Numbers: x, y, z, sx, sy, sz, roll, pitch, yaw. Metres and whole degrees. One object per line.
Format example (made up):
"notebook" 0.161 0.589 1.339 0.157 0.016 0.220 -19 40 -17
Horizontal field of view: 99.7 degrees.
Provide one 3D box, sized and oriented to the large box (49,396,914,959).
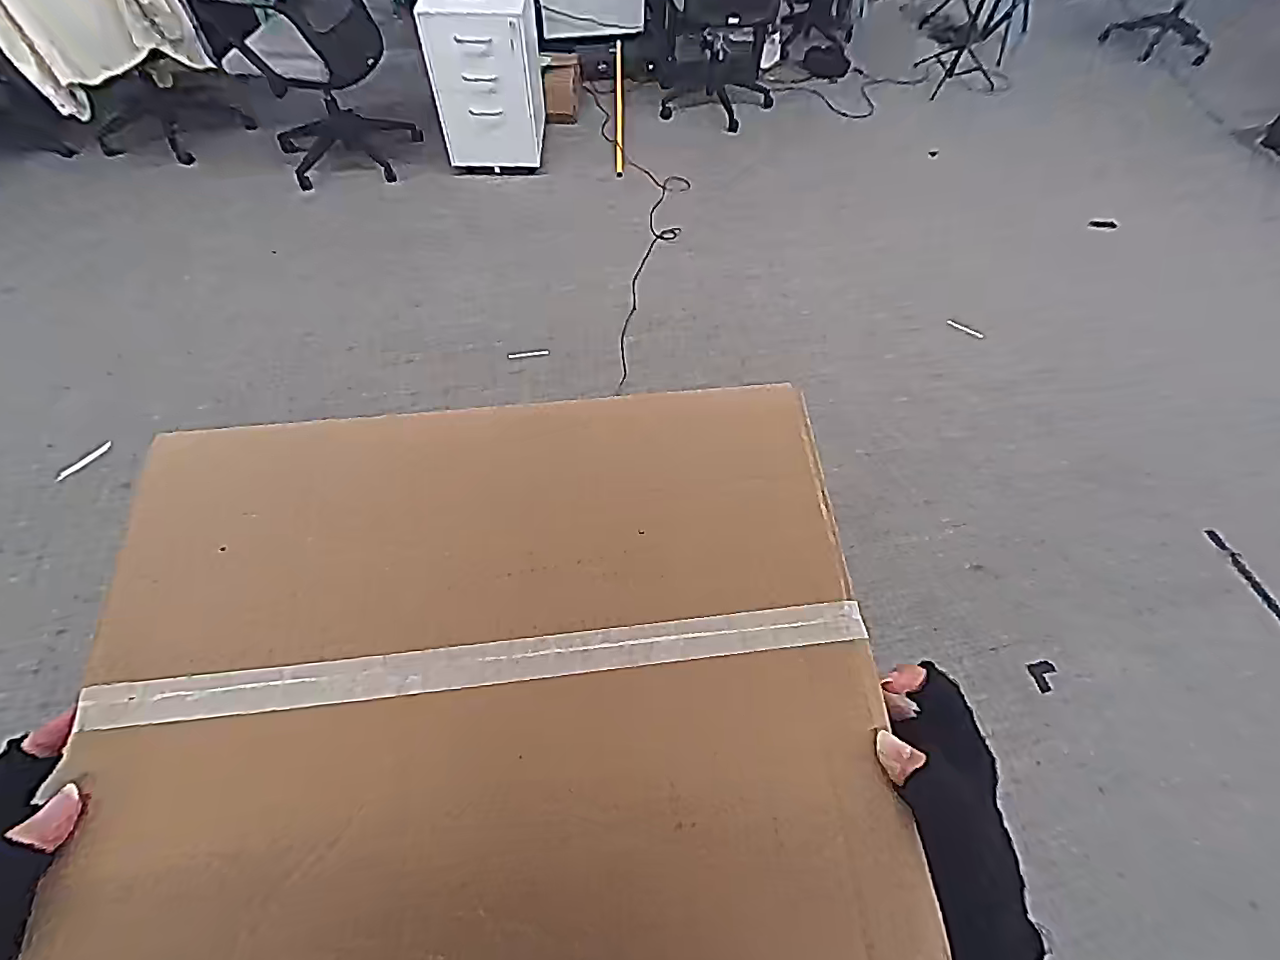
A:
"large box" -0.083 0.159 0.435 0.408 0.320 0.320 -5 66 -3
